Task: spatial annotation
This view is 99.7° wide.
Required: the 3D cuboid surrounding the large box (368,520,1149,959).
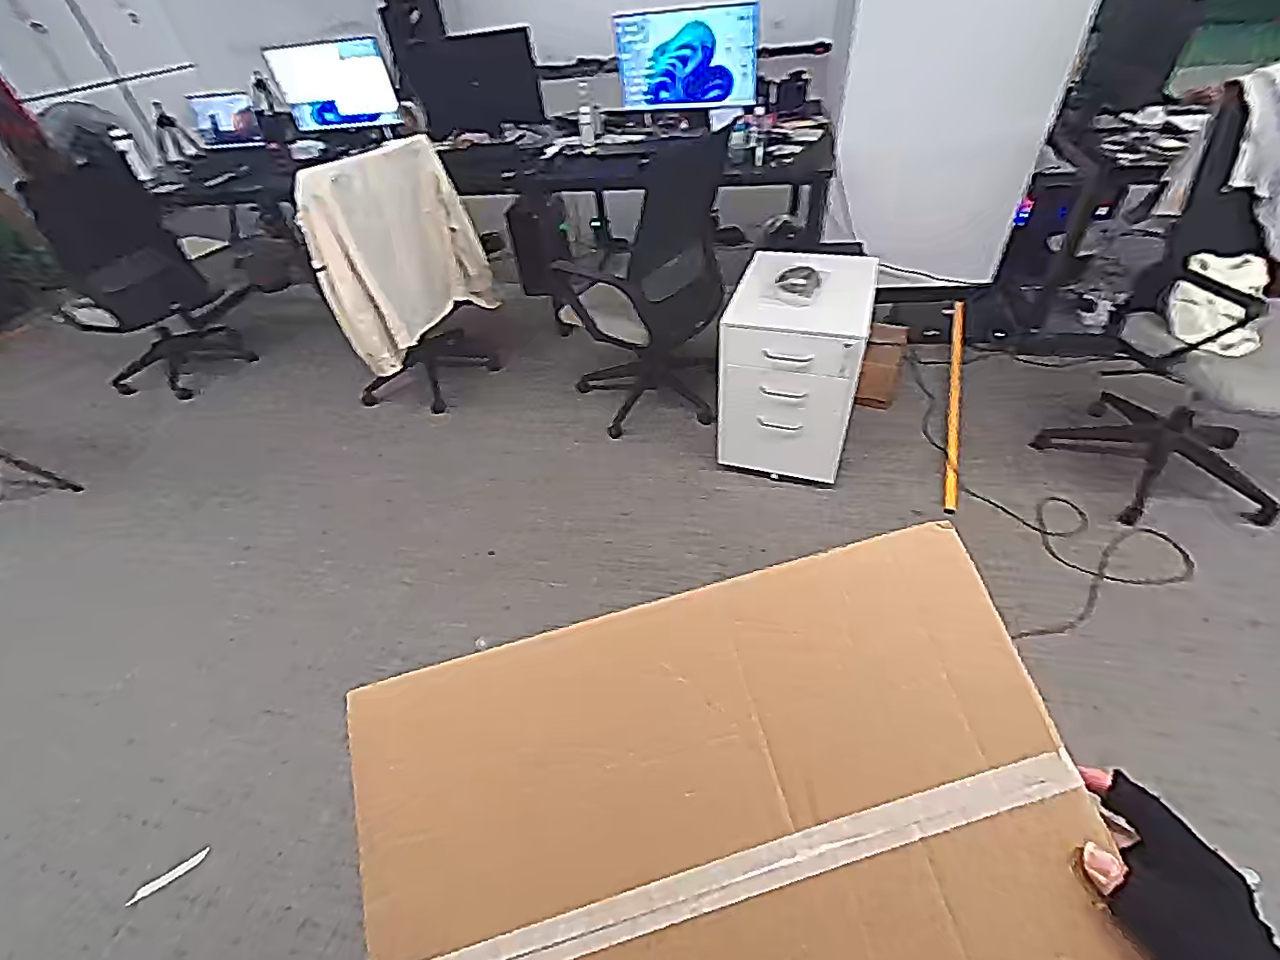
[{"bbox_3d":[0.058,0.270,0.453,0.408,0.320,0.320,-16,72,-4],"label":"large box"}]
